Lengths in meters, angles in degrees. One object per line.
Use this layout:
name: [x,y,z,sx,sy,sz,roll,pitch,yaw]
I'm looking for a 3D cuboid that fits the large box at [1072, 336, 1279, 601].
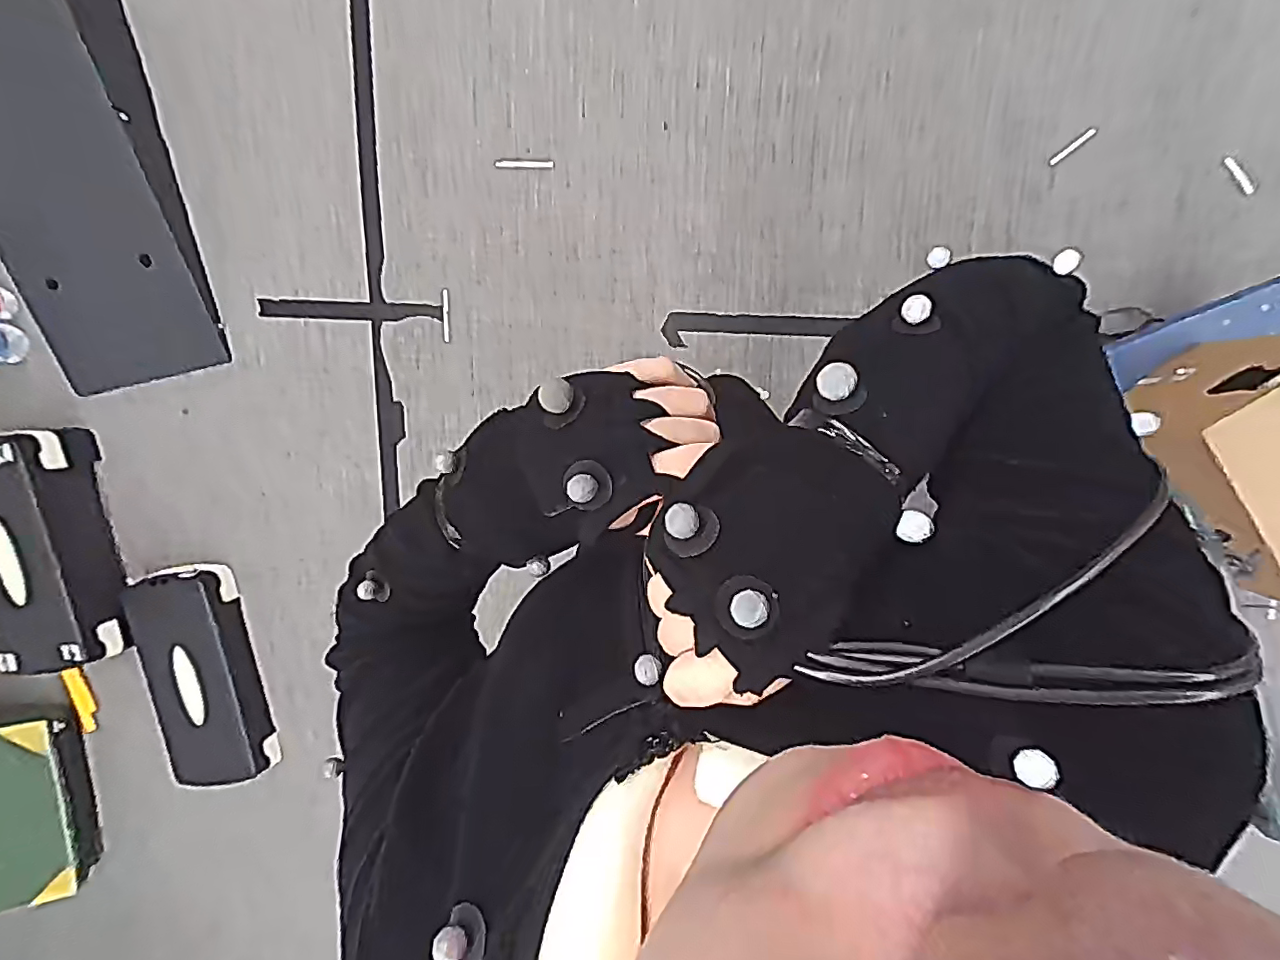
large box: [1.211,-0.033,1.091,0.320,0.320,0.408,-34,96,8]
